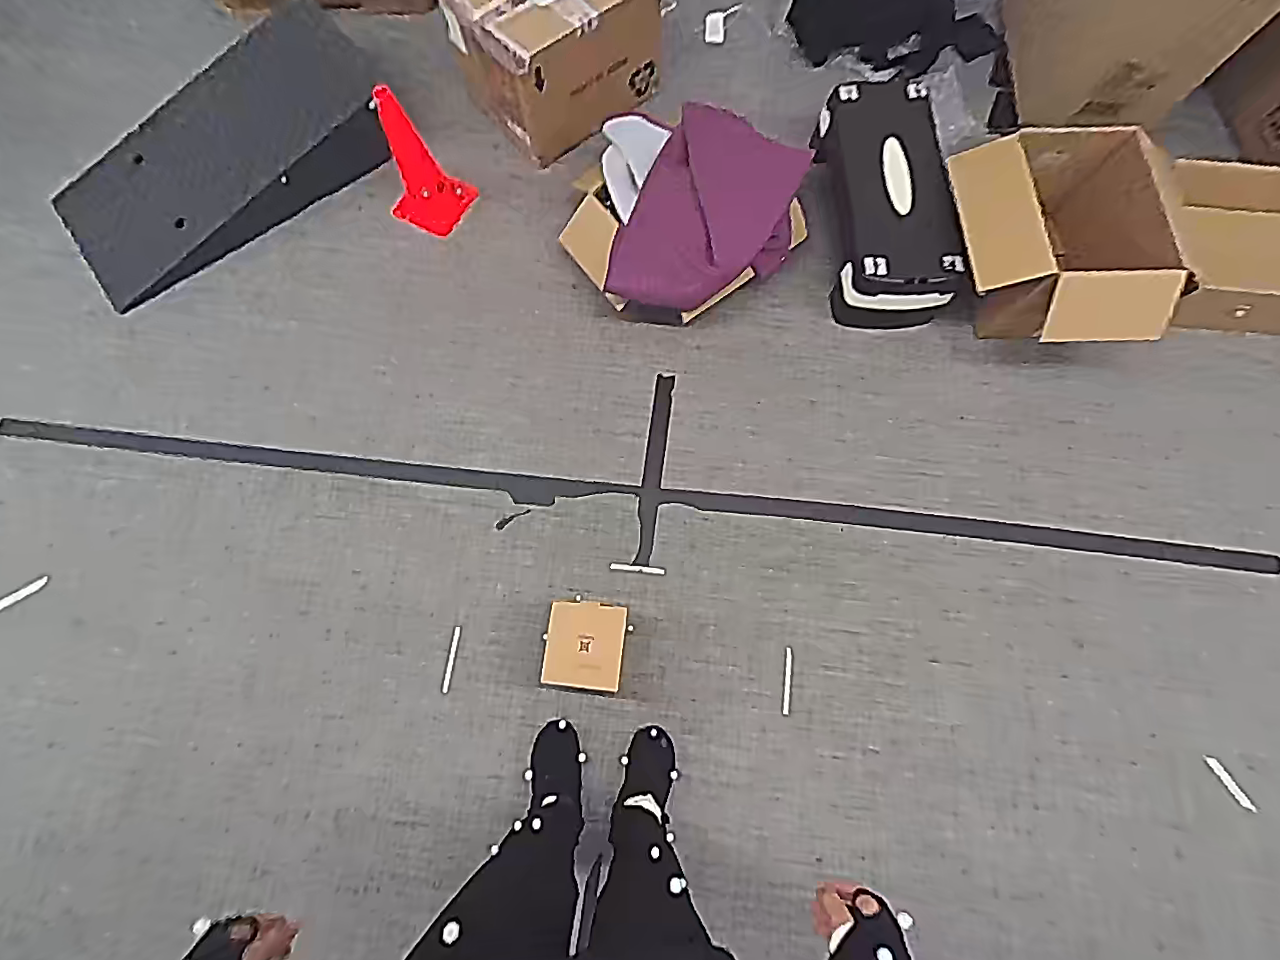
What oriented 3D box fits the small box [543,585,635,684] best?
[{"bbox_3d":[-0.100,0.323,1.146,0.168,0.176,0.179,5,77,2],"label":"small box"}]
